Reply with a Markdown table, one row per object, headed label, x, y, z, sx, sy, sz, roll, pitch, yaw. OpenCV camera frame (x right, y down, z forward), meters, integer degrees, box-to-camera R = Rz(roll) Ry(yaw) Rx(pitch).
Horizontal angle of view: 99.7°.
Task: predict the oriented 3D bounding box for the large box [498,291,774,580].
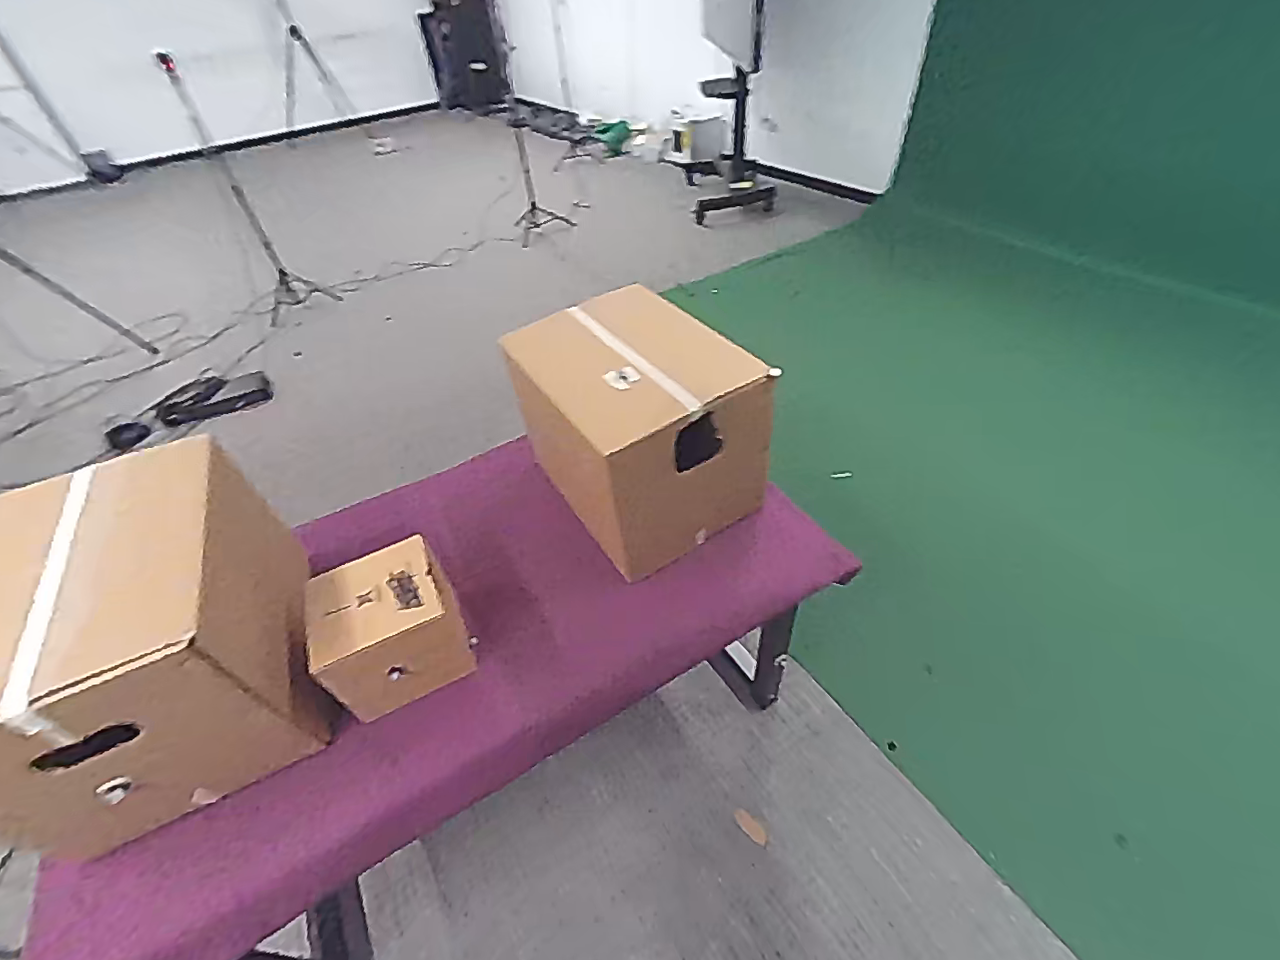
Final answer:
| label | x | y | z | sx | sy | sz | roll | pitch | yaw |
| --- | --- | --- | --- | --- | --- | --- | --- | --- | --- |
| large box | -0.014 | -0.099 | 1.015 | 0.320 | 0.320 | 0.408 | -28 | 49 | -19 |
